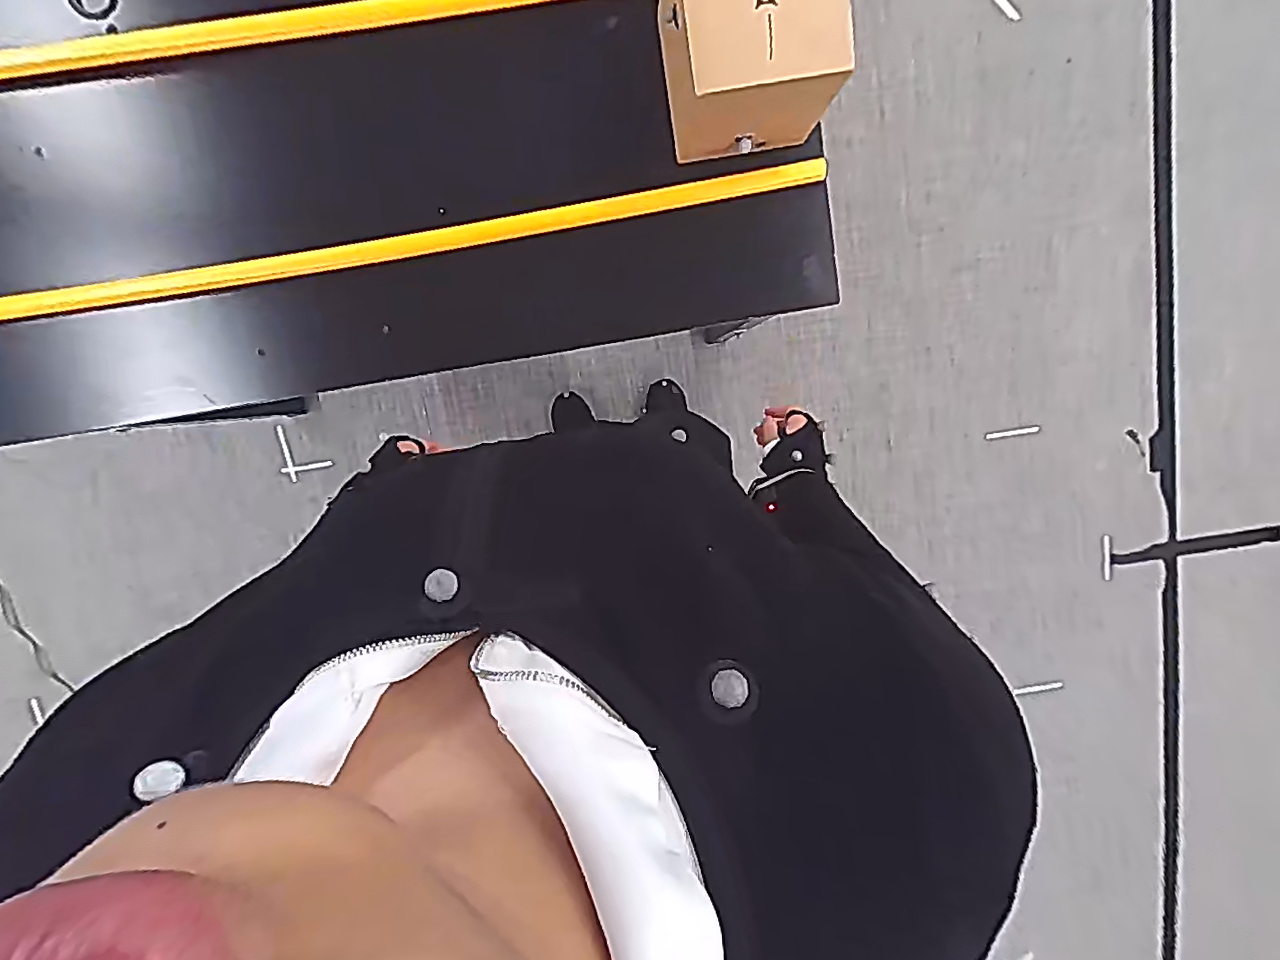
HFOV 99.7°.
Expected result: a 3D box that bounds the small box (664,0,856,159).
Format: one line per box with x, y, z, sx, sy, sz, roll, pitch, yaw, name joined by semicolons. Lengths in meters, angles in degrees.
0.122;-0.497;0.608;0.168;0.176;0.179;-9;100;0;small box
